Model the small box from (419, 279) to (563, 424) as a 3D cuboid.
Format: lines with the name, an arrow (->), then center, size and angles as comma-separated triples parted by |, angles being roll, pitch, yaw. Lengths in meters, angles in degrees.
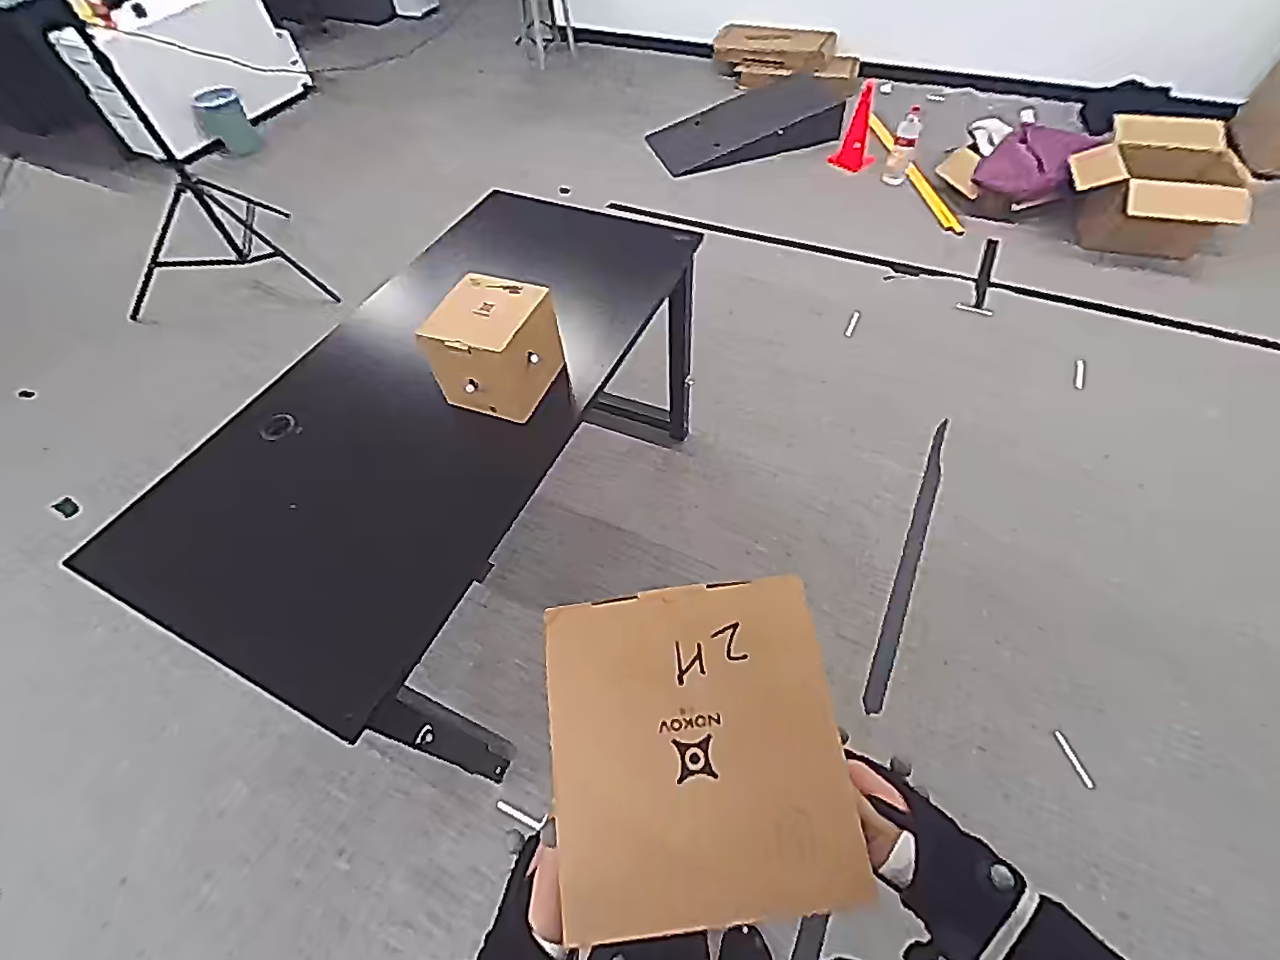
small box -> -0.253, -0.227, 0.974 | 0.168, 0.176, 0.179 | 16, 58, 15

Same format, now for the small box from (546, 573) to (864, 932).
small box -> 0.034, 0.178, 0.389 | 0.168, 0.176, 0.179 | -8, 67, 0
